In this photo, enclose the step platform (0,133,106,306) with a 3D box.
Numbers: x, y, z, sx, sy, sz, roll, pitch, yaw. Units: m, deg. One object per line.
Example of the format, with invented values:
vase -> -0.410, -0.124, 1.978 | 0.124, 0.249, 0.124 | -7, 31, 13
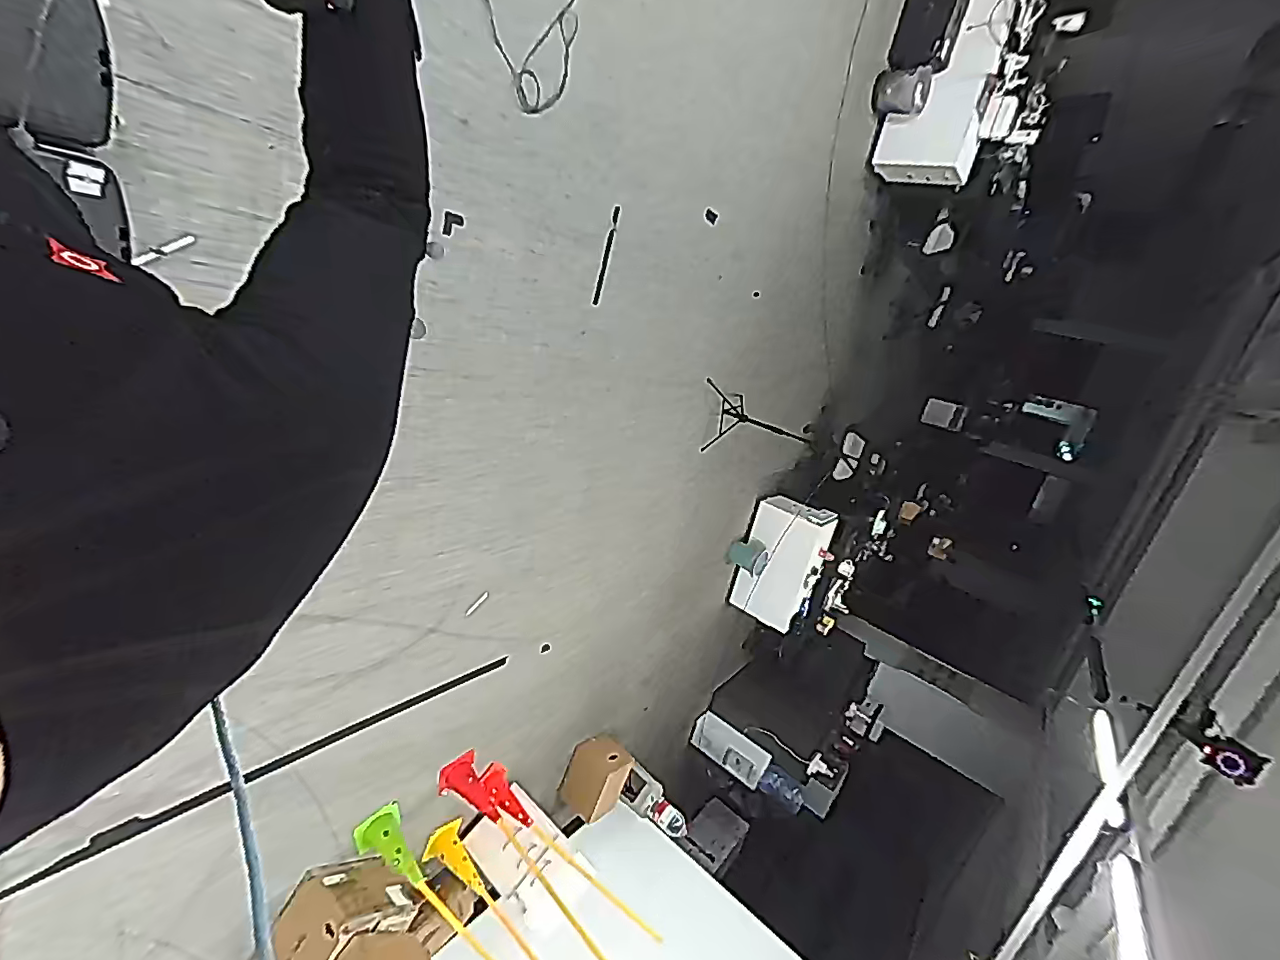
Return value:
step platform -> -1.297, -0.454, 0.828 | 0.684, 0.204, 0.286 | -11, 120, -50
